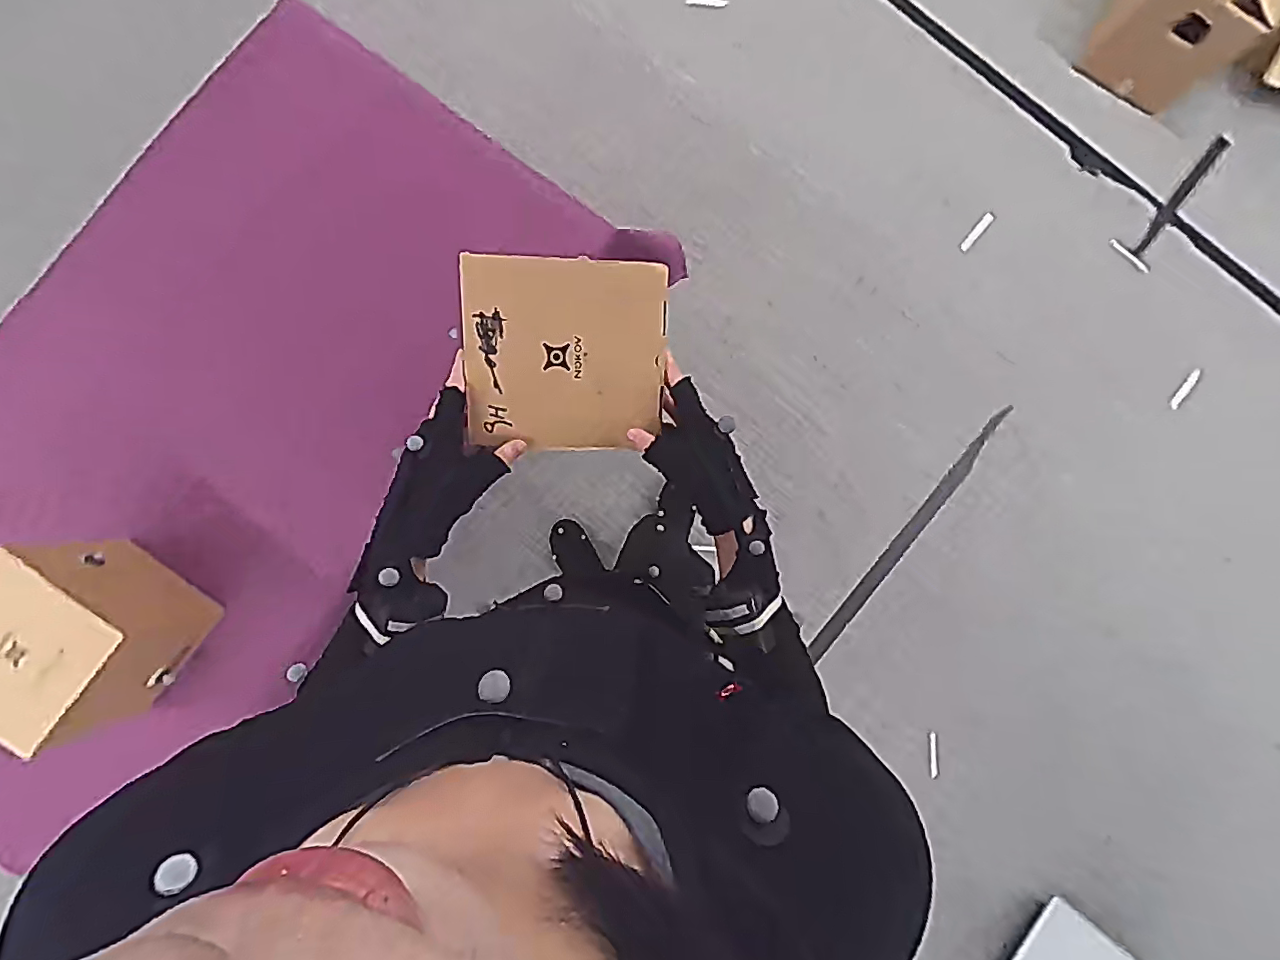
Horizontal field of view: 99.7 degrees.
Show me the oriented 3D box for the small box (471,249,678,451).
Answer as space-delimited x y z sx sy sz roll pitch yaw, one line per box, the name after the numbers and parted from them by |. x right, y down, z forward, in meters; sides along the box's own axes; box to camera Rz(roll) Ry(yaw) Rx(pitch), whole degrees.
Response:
-0.069 -0.126 0.546 0.179 0.176 0.168 1 103 -9 | small box

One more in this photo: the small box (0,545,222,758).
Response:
-0.690 0.195 0.670 0.179 0.176 0.168 35 85 -1 | small box
